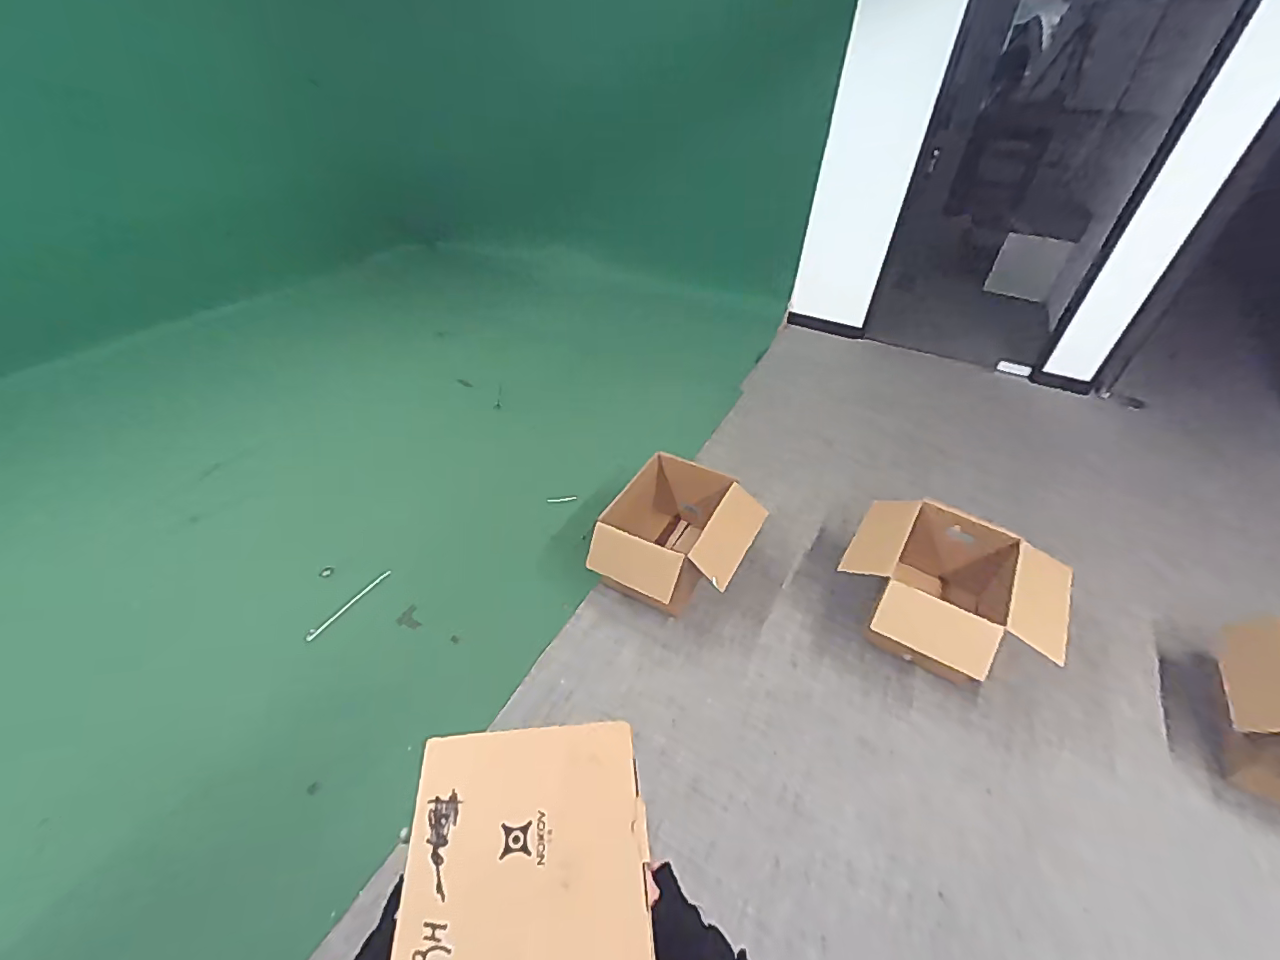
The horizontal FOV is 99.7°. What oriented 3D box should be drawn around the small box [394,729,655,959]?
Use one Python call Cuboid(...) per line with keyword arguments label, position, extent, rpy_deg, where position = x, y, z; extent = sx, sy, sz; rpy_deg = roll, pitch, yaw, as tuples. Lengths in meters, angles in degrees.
Cuboid(label="small box", position=(-0.089, 0.334, 0.466), extent=(0.179, 0.176, 0.168), rpy_deg=(-1, 43, -7))
